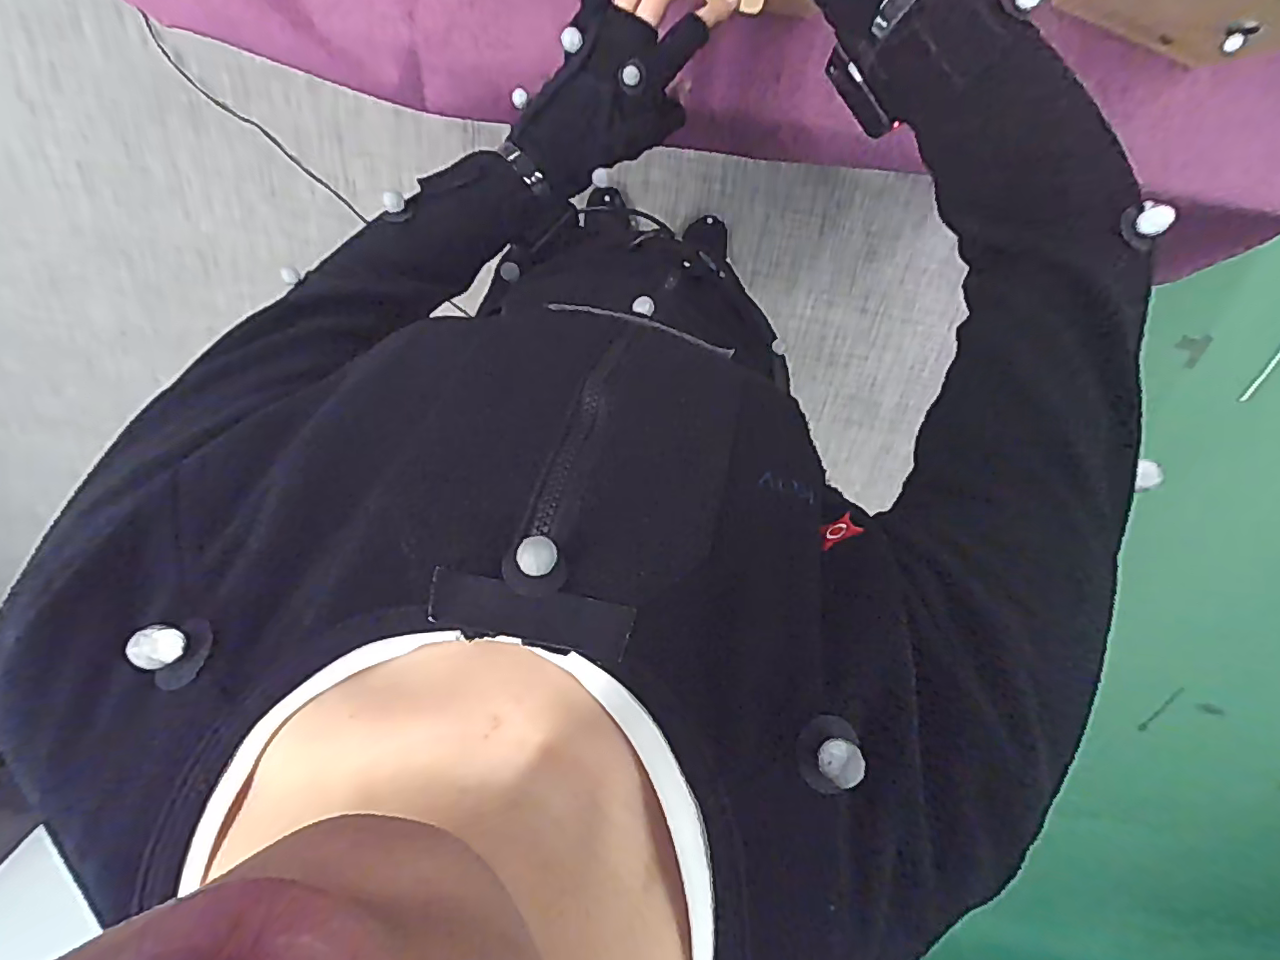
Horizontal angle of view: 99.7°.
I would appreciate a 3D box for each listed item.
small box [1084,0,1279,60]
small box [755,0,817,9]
[{"bbox_3d":[0.476,-0.446,0.392,0.168,0.176,0.179,18,118,-6],"label":"small box"},{"bbox_3d":[0.091,-0.484,0.396,0.168,0.176,0.179,9,119,-2],"label":"small box"}]
